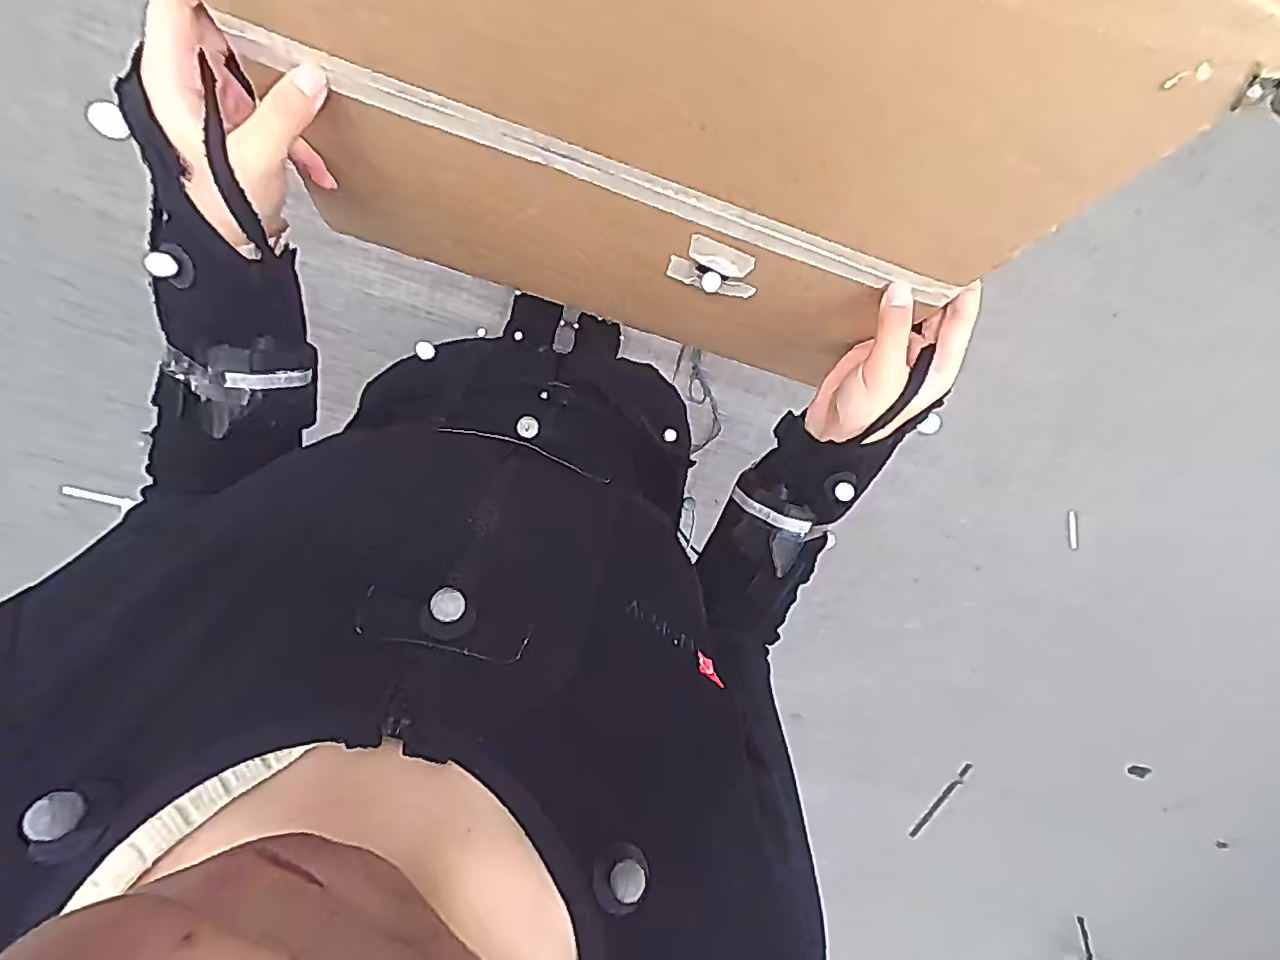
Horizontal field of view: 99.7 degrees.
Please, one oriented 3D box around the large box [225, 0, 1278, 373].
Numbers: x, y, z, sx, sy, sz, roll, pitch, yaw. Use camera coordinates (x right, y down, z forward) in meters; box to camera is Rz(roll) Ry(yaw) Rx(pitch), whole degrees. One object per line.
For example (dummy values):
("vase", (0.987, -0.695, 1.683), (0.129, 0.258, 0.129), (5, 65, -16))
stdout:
("large box", (0.023, -0.311, 0.329), (0.408, 0.320, 0.320), (14, 78, -9))
